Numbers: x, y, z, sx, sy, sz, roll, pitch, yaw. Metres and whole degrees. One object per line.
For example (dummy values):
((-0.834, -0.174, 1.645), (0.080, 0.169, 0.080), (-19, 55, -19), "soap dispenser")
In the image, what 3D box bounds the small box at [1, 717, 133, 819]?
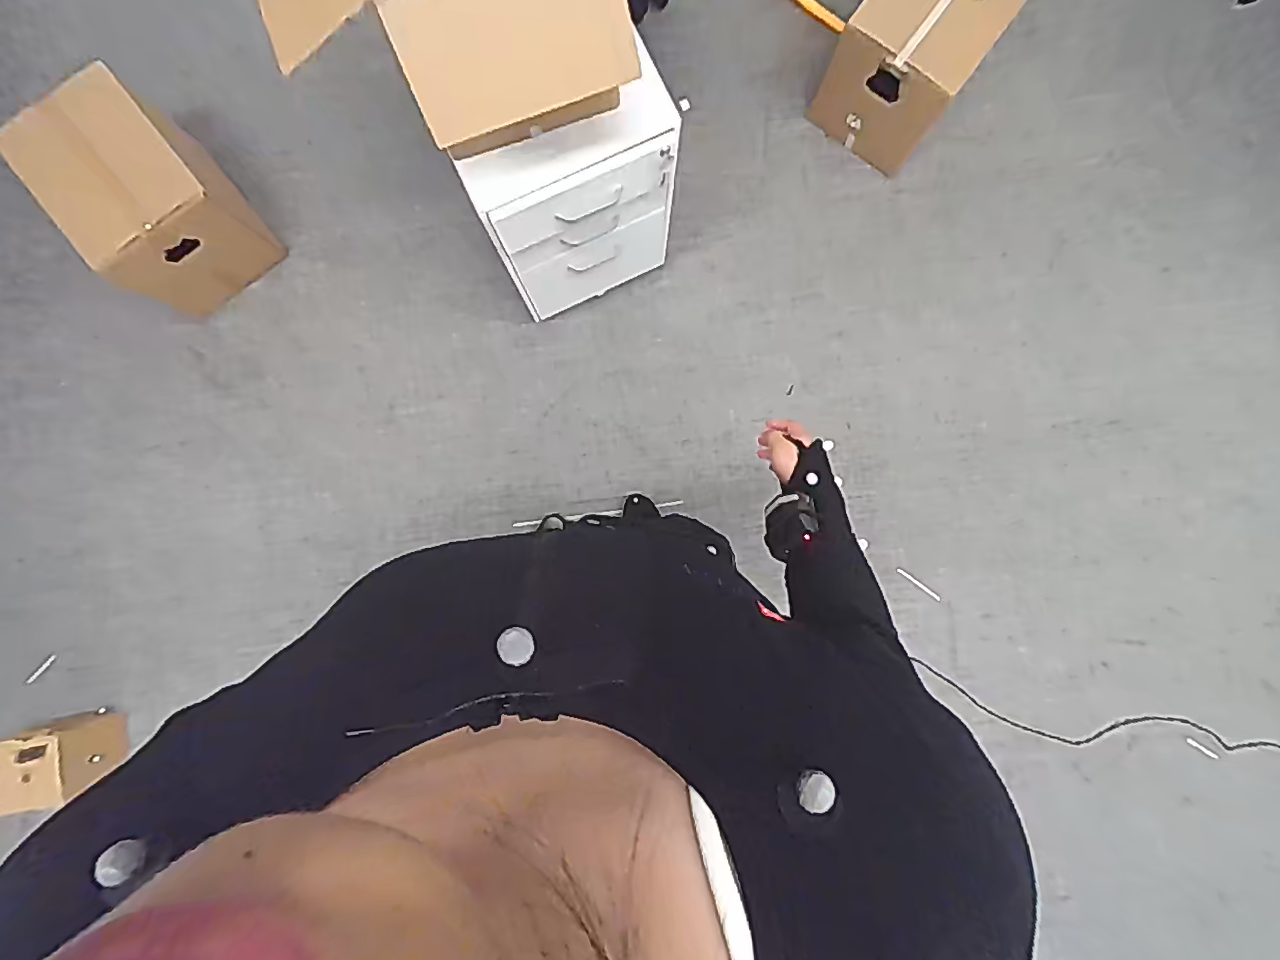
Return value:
((-1.455, 0.724, 1.383), (0.168, 0.176, 0.179), (-7, 87, -1), "small box")
